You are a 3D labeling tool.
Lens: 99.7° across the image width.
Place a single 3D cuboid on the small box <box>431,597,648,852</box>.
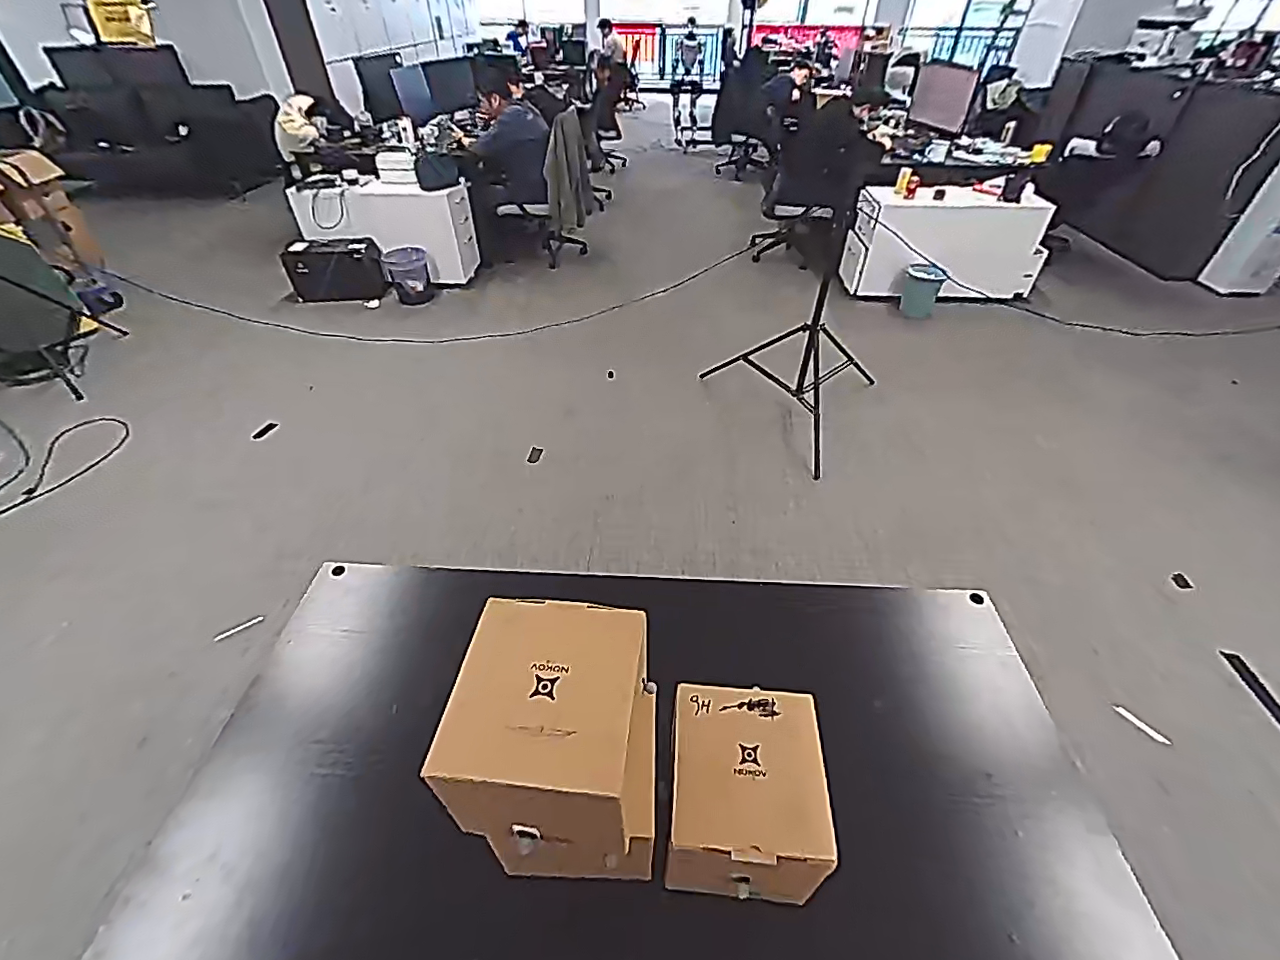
[{"bbox_3d":[-0.081,0.244,0.546,0.168,0.176,0.179,3,43,5],"label":"small box"}]
